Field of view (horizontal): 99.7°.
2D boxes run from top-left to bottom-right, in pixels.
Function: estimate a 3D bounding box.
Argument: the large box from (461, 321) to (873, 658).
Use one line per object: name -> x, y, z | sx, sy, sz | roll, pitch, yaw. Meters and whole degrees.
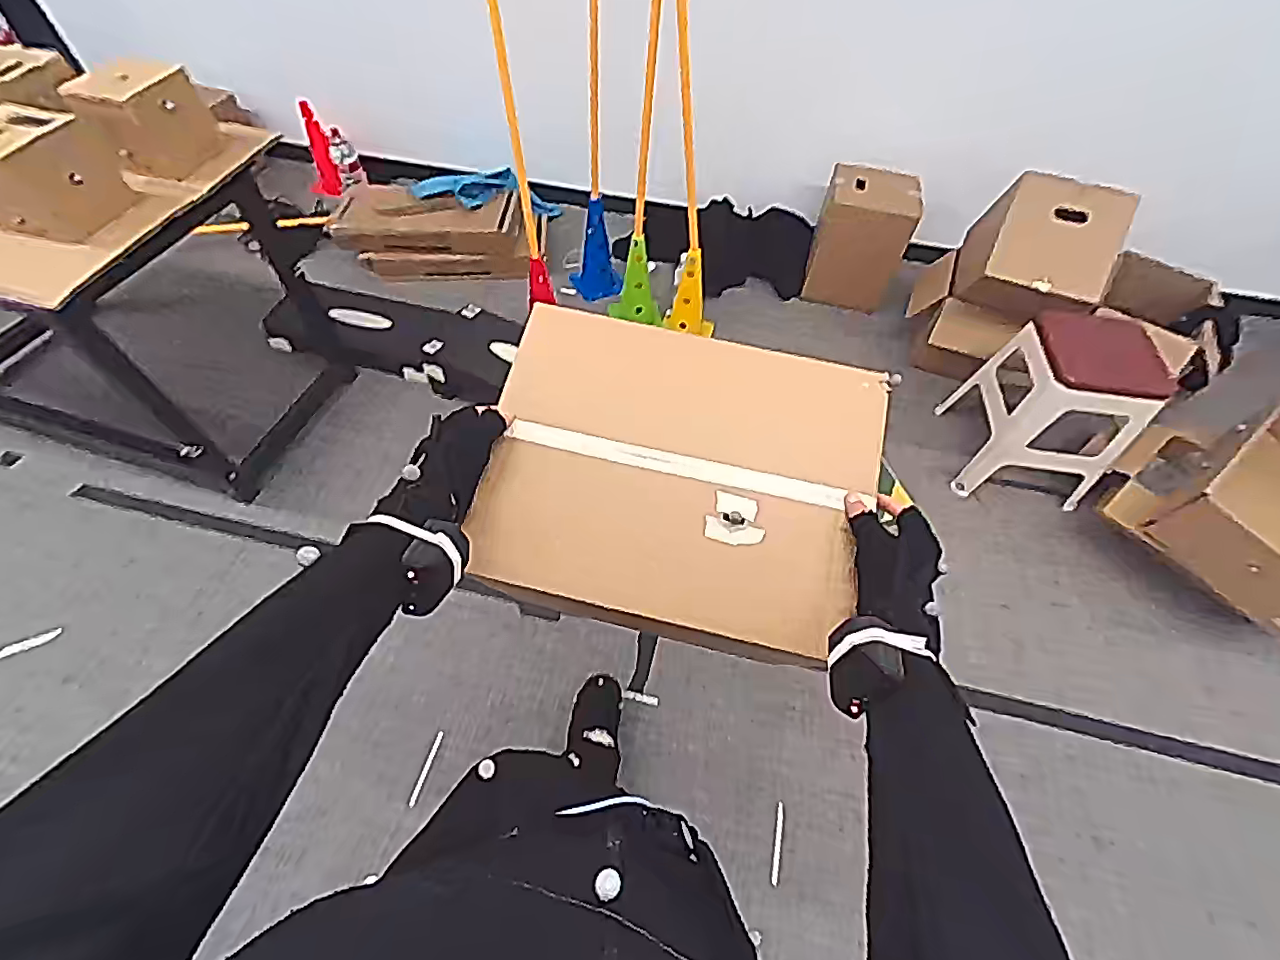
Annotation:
large box -> 0.038, 0.037, 0.724 | 0.408, 0.320, 0.320 | 13, 73, 4
